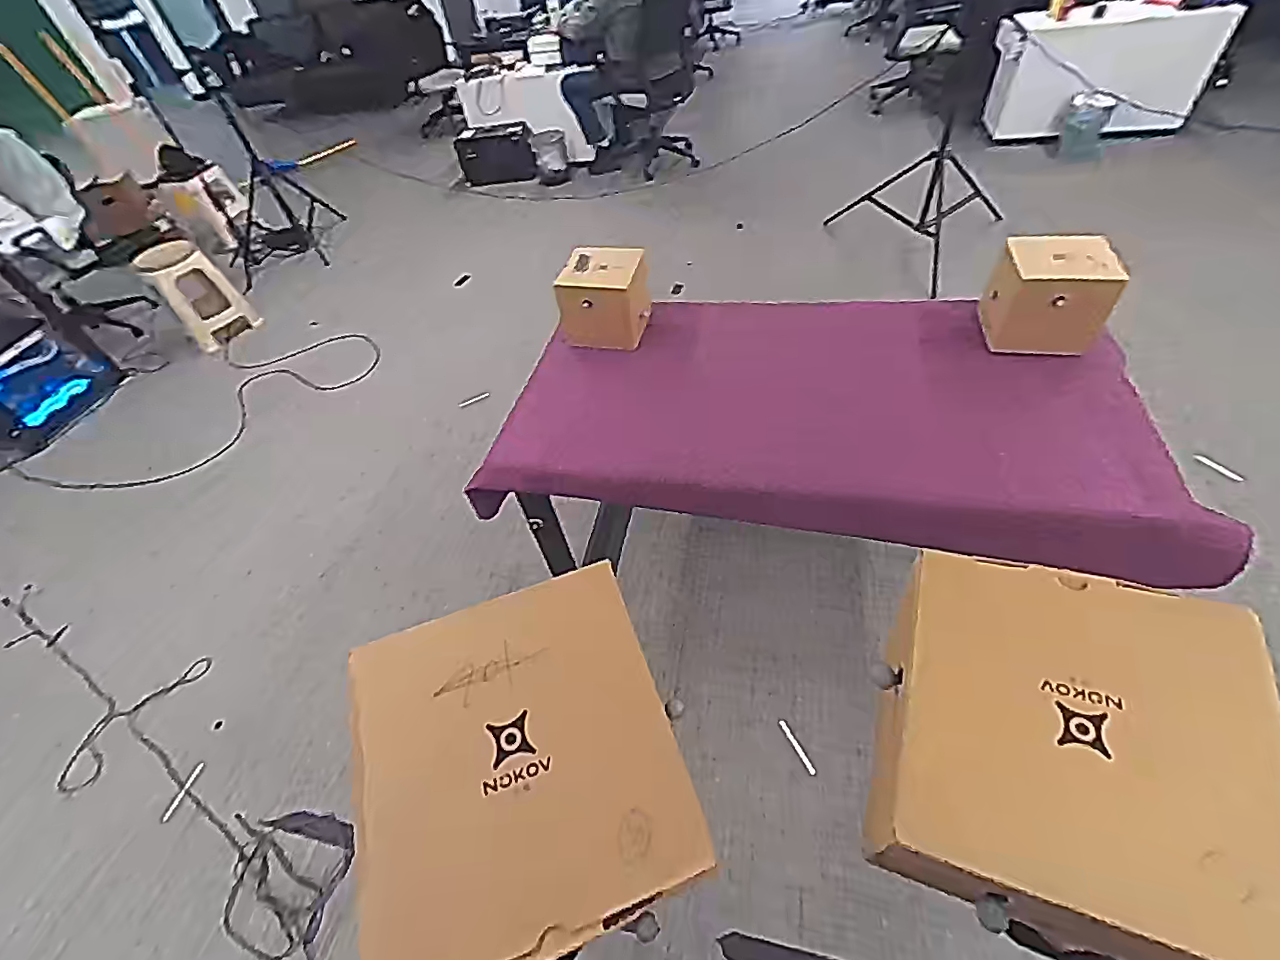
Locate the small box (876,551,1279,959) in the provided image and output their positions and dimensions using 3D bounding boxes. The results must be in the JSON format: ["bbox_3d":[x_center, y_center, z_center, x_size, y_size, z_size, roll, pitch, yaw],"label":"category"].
[{"bbox_3d":[0.253,0.174,0.344,0.168,0.176,0.179,9,55,23],"label":"small box"}]

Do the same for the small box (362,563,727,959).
[{"bbox_3d":[-0.057,0.188,0.352,0.168,0.176,0.179,-18,54,-10],"label":"small box"}]

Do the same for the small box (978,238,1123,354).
[{"bbox_3d":[0.814,-0.373,1.101,0.179,0.176,0.168,6,51,13],"label":"small box"}]

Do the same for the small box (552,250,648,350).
[{"bbox_3d":[-0.087,-0.429,1.293,0.179,0.176,0.168,8,53,13],"label":"small box"}]
